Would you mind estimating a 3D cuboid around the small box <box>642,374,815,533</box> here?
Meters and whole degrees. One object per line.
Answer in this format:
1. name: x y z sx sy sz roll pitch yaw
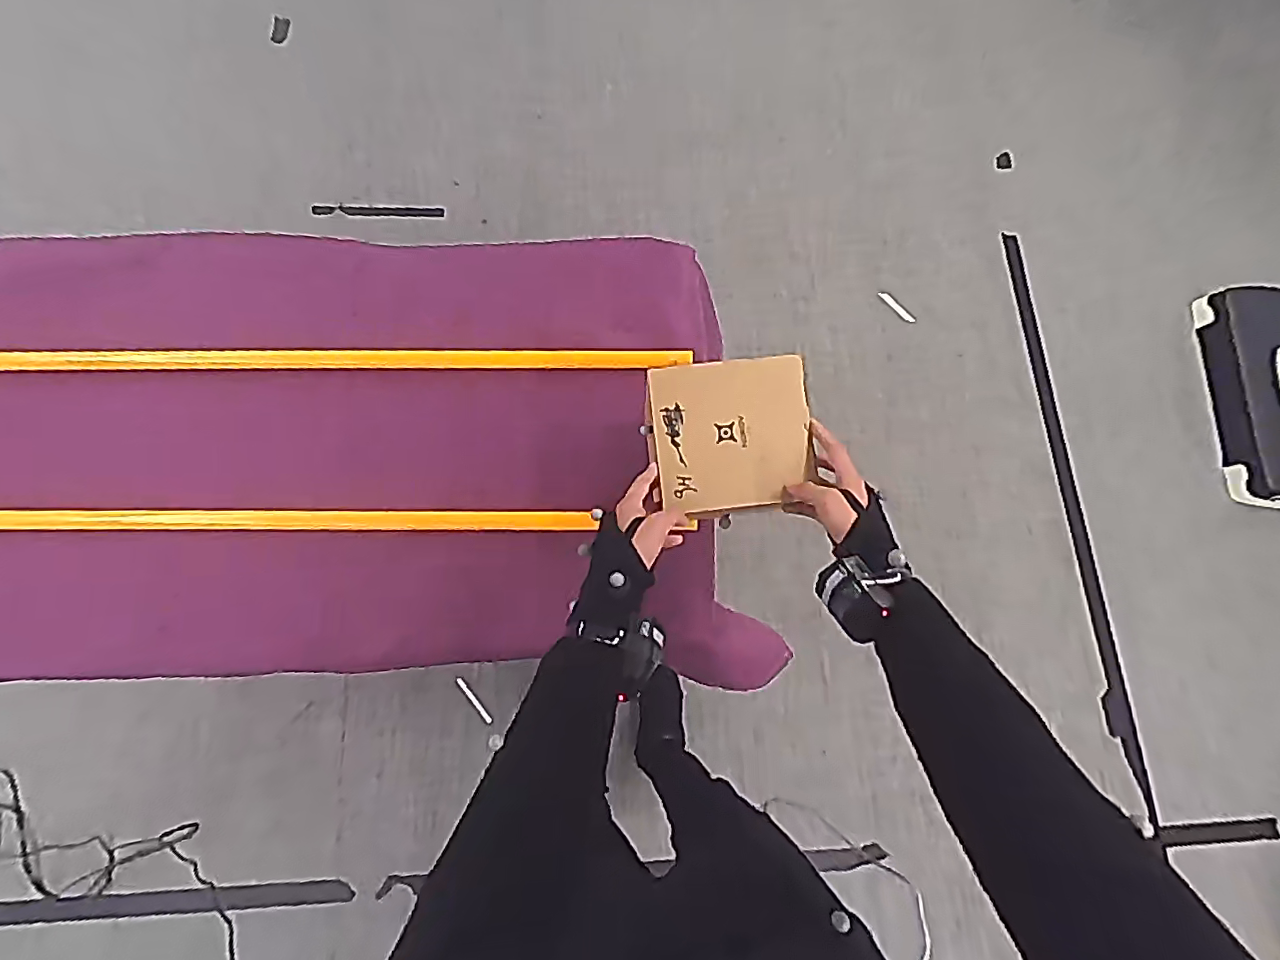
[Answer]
1. small box: 0.098 -0.024 0.680 0.179 0.176 0.168 -6 82 -2
